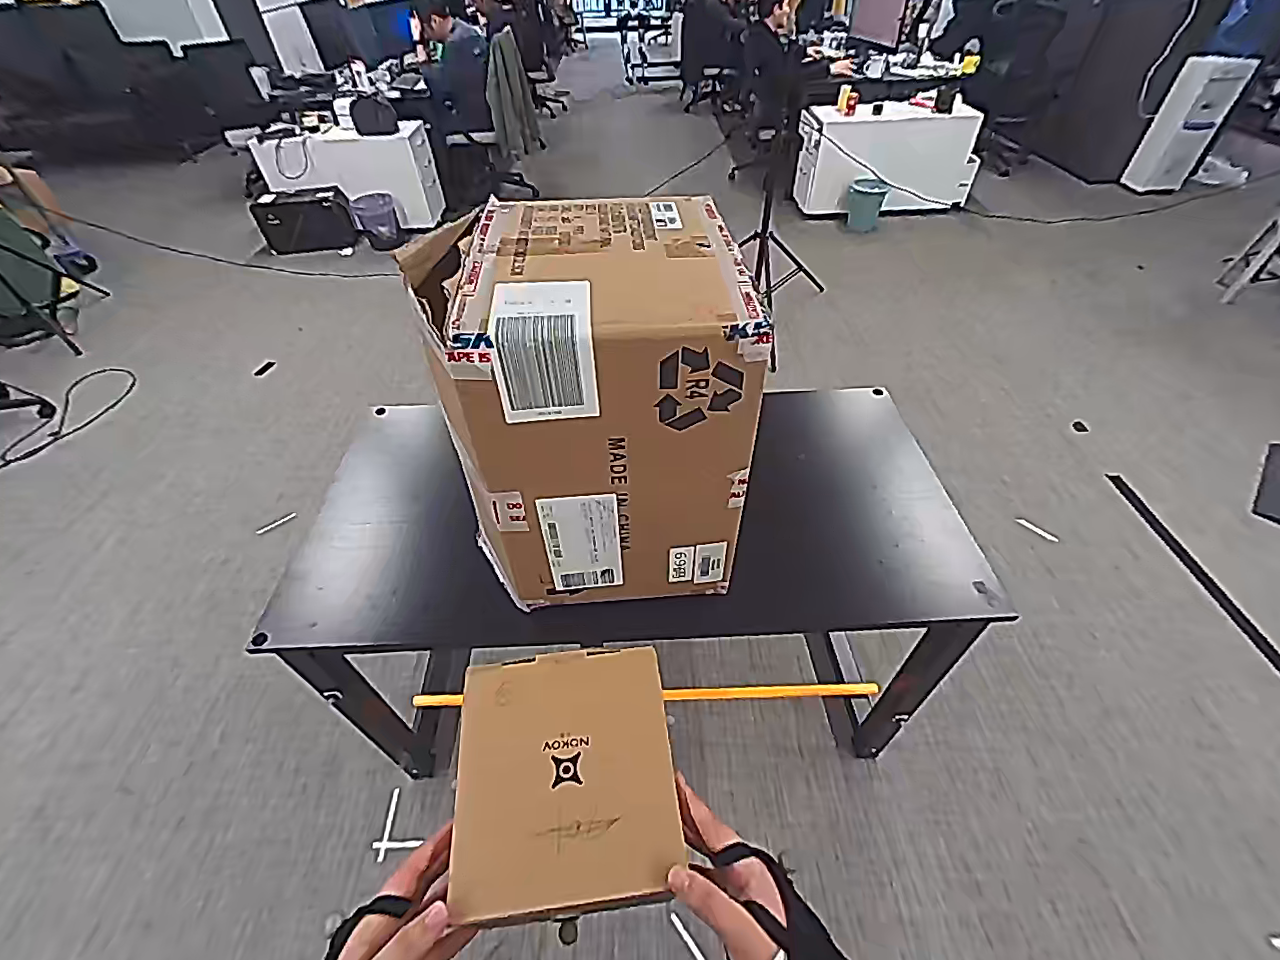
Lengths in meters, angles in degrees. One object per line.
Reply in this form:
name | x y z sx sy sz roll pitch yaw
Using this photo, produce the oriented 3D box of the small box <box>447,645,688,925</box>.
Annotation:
small box | -0.059 0.269 0.478 0.168 0.176 0.179 -5 50 -5
